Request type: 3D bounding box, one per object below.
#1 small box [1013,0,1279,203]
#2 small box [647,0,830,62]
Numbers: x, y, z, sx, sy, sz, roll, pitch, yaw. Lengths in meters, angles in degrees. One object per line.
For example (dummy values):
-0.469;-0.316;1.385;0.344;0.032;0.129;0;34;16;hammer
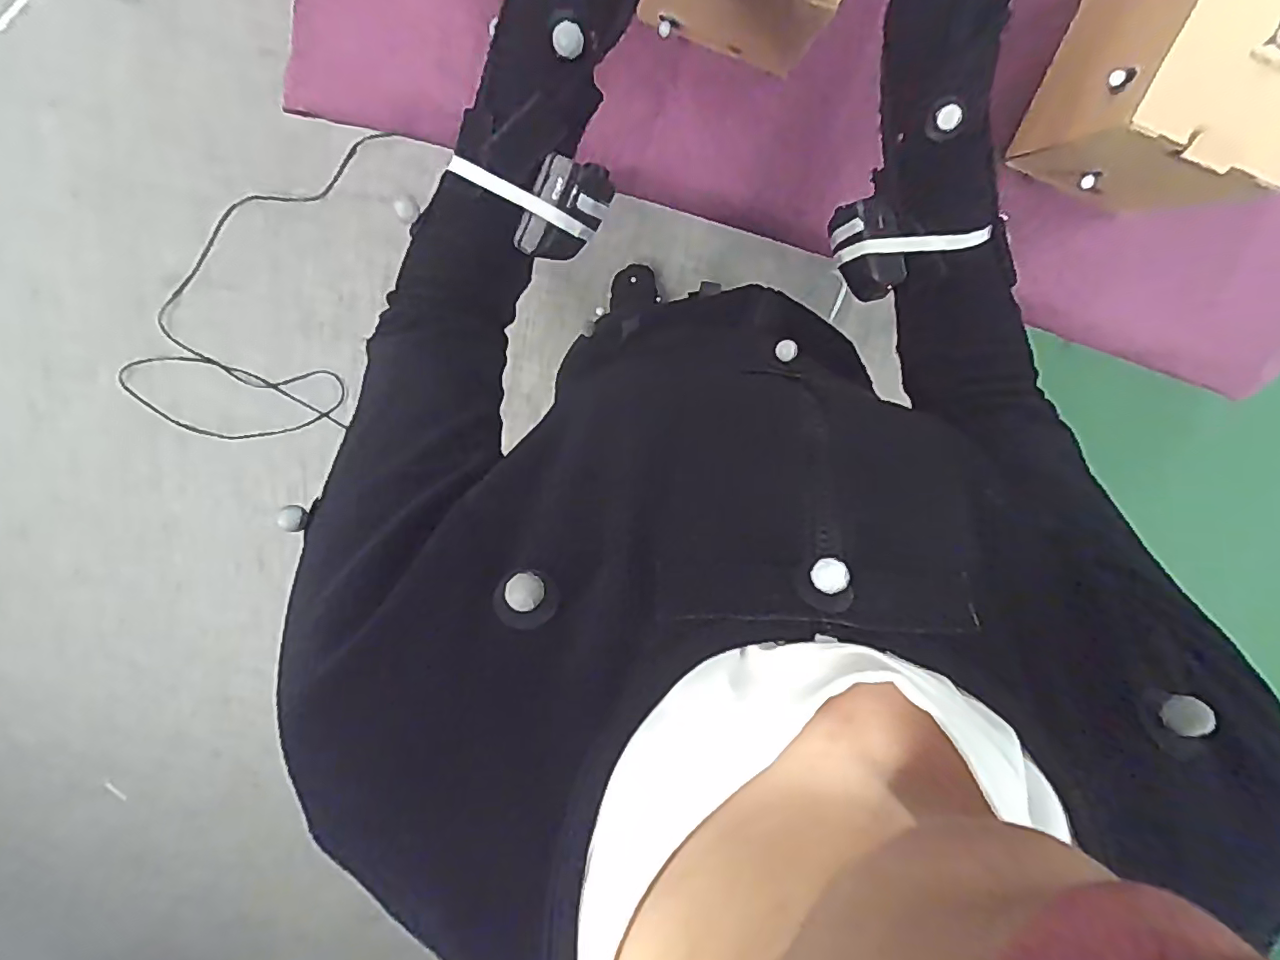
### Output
0.509;-0.387;0.512;0.168;0.176;0.179;17;111;-7;small box
0.099;-0.502;0.461;0.168;0.176;0.179;15;111;-7;small box
